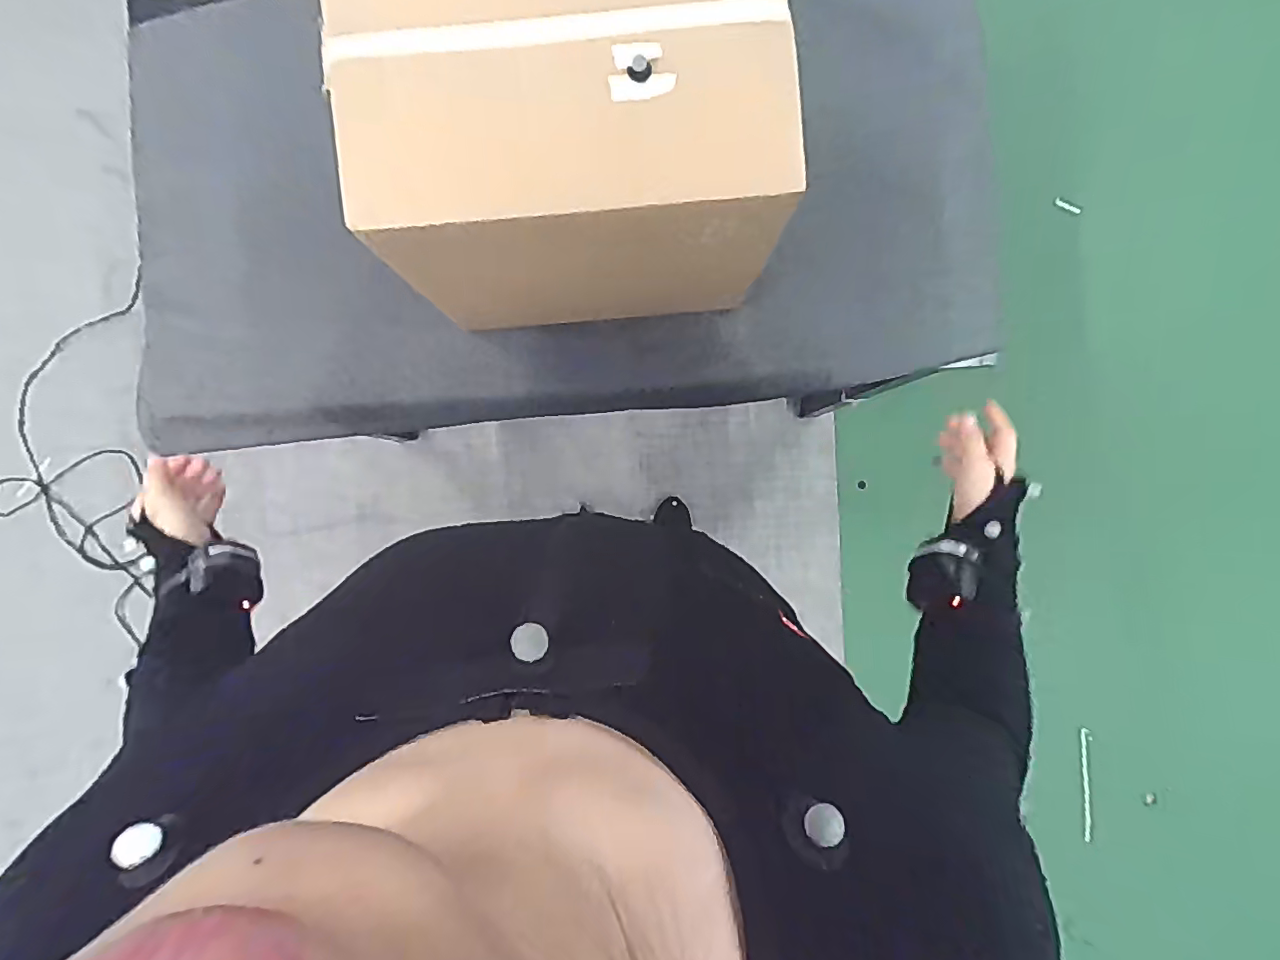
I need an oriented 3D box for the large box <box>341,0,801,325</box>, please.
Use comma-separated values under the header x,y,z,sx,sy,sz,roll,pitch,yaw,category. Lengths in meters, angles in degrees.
x,y,z,sx,sy,sz,roll,pitch,yaw,category
-0.070,-0.394,0.634,0.408,0.320,0.320,-6,90,-1,large box
